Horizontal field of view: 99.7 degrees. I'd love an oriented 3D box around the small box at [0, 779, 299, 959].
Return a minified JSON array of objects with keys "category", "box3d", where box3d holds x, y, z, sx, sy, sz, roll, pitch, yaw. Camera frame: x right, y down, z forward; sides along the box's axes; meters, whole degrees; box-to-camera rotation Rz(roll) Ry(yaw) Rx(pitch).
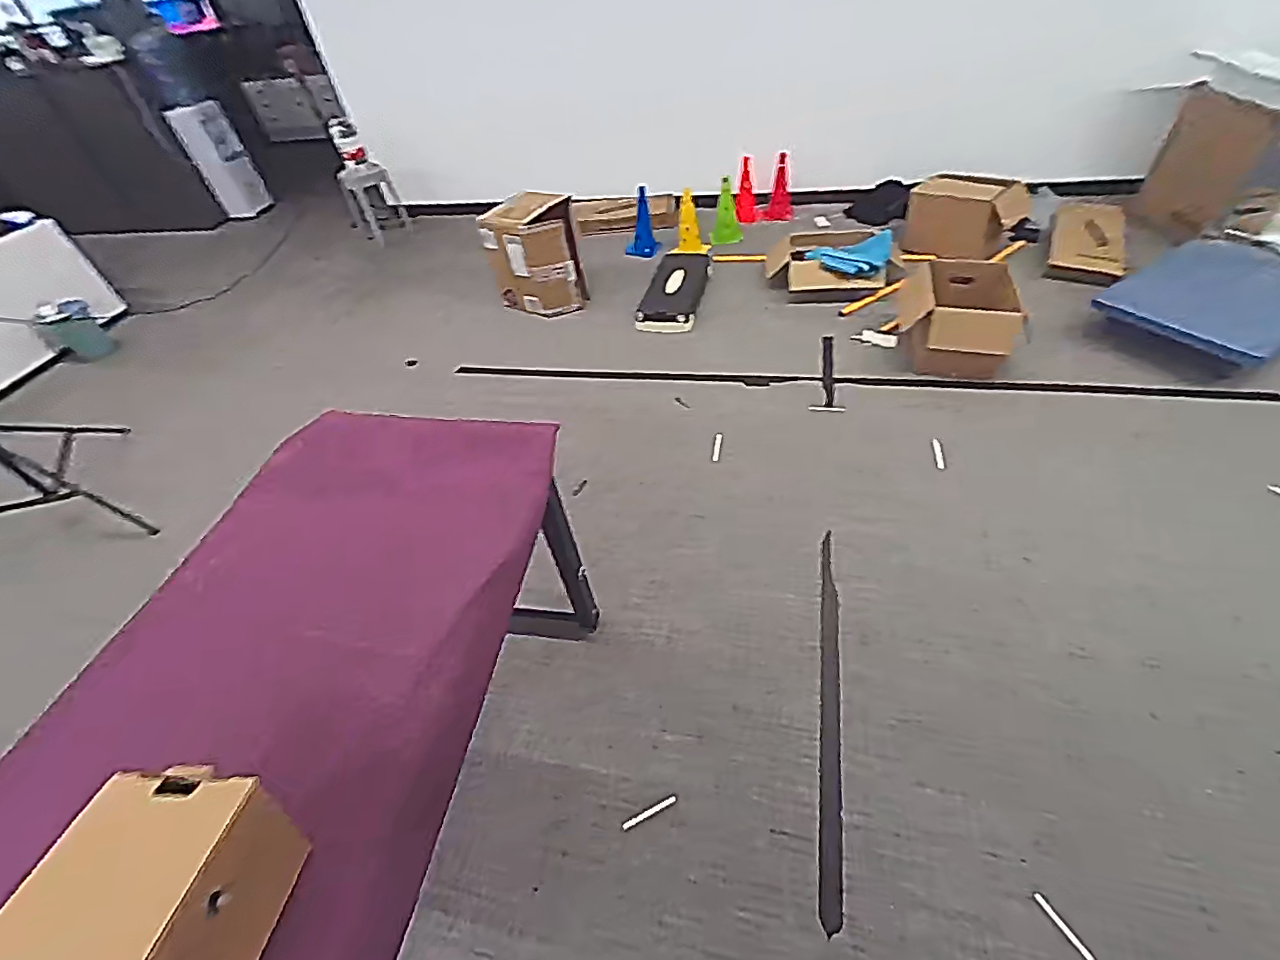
[{"category":"small box","box3d":[-0.493,0.438,0.553,0.168,0.176,0.179,0,35,2]}]
